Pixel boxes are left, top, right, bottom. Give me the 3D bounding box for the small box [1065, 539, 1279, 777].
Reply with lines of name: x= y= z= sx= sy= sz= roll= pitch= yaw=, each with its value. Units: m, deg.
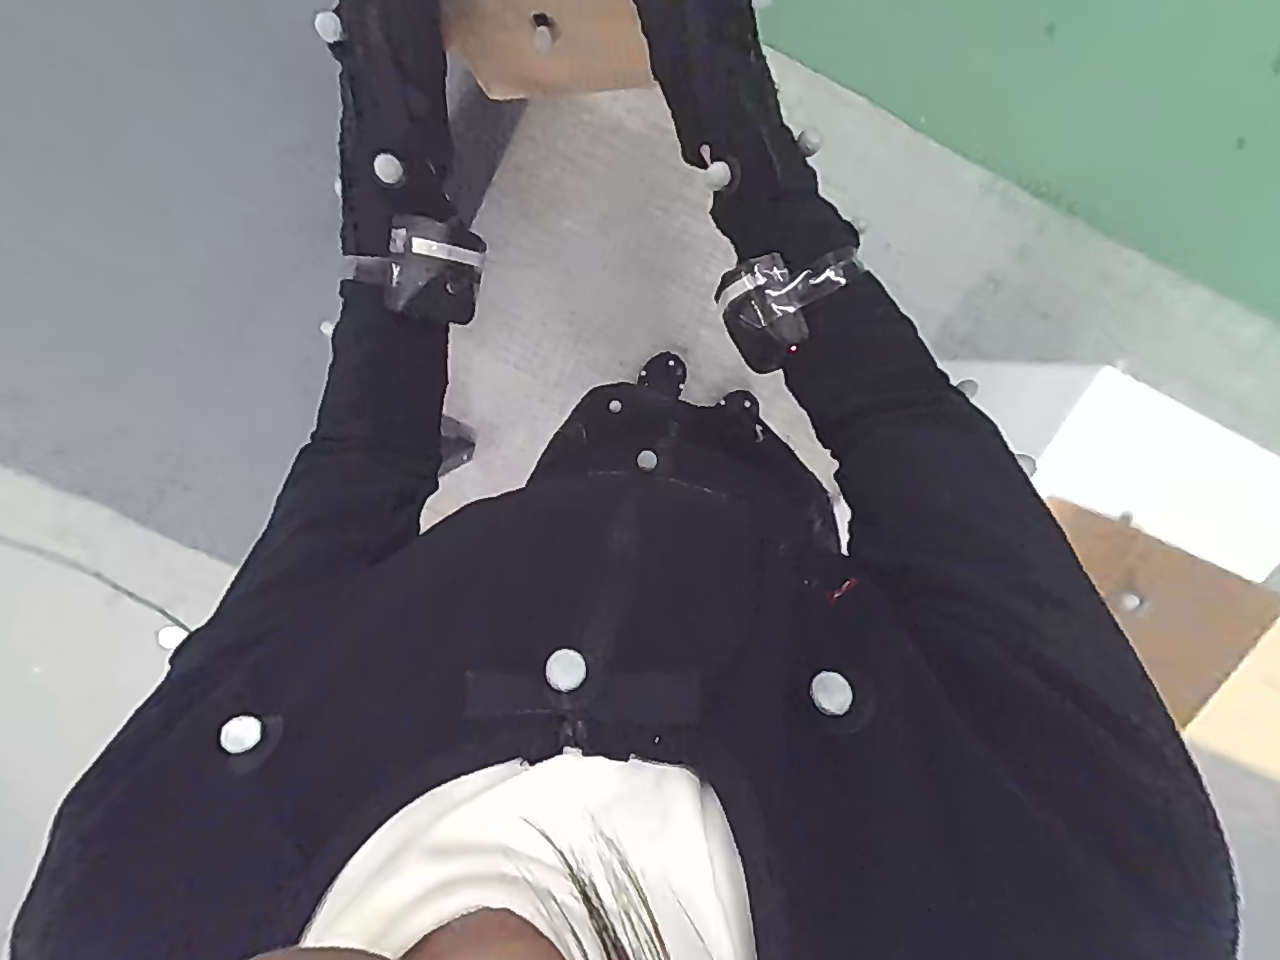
small box: x=0.630 y=0.184 z=0.582 sx=0.179 sy=0.176 sz=0.168 roll=21 pitch=106 yaw=-4
